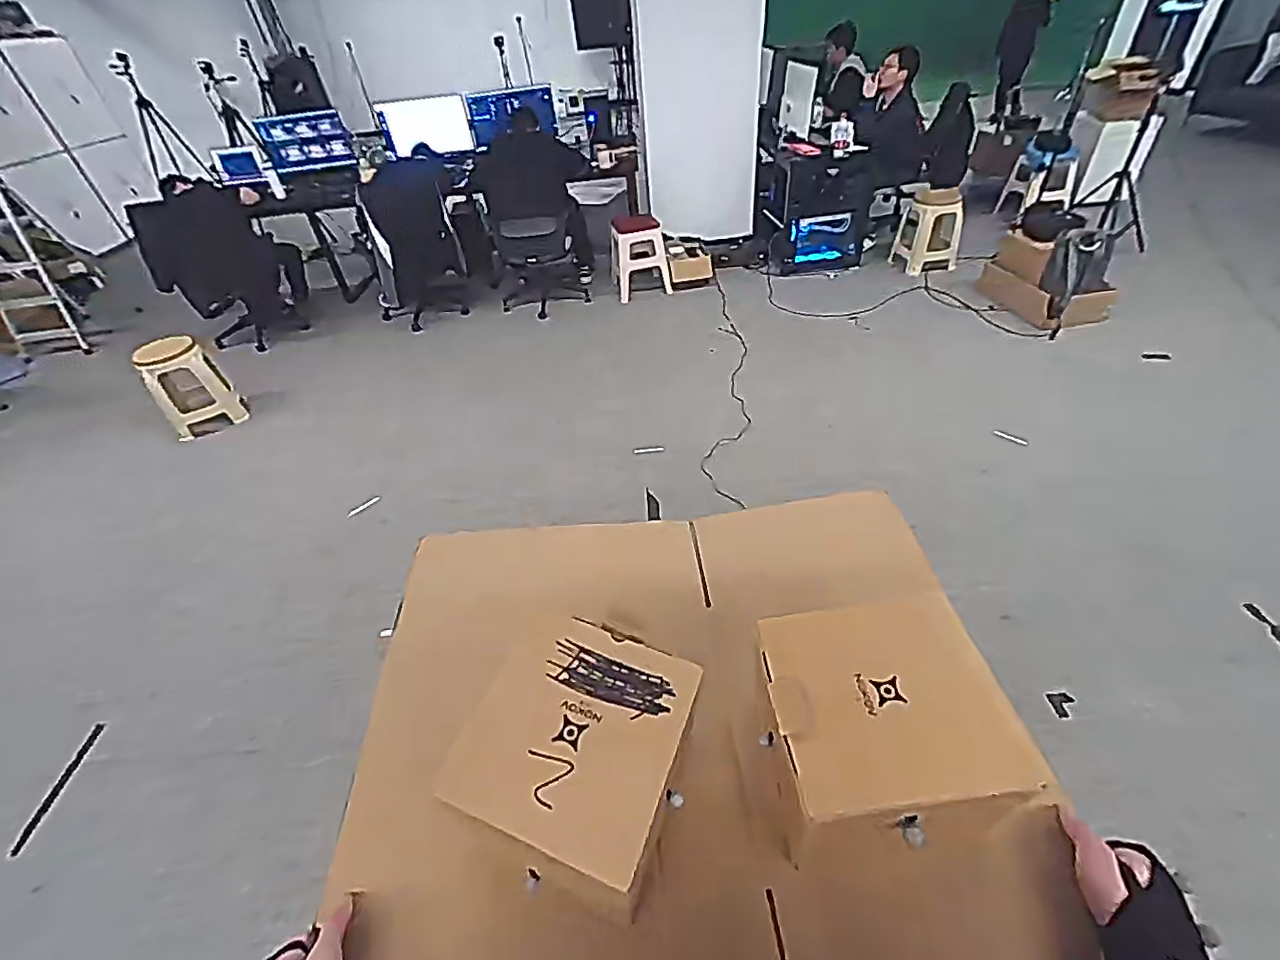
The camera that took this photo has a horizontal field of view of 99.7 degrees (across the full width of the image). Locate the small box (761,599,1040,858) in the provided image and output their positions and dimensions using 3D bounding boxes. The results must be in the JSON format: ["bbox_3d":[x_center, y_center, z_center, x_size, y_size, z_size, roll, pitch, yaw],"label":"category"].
[{"bbox_3d":[0.218,0.238,0.514,0.179,0.176,0.168,-10,44,3],"label":"small box"}]
